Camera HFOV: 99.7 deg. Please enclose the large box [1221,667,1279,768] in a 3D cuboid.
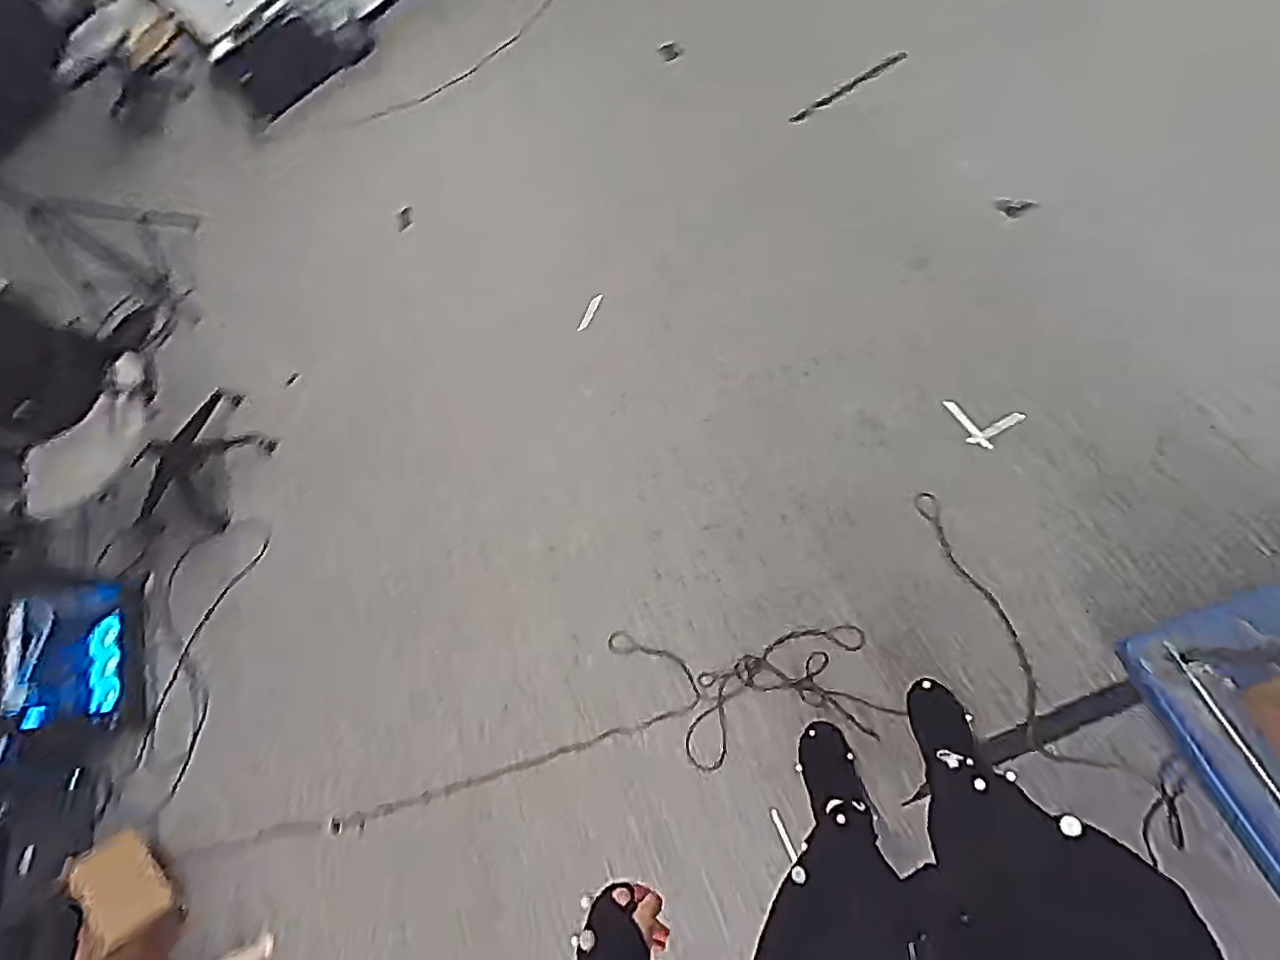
[{"bbox_3d":[1.151,0.409,0.694,0.320,0.320,0.408,-29,65,9],"label":"large box"}]
